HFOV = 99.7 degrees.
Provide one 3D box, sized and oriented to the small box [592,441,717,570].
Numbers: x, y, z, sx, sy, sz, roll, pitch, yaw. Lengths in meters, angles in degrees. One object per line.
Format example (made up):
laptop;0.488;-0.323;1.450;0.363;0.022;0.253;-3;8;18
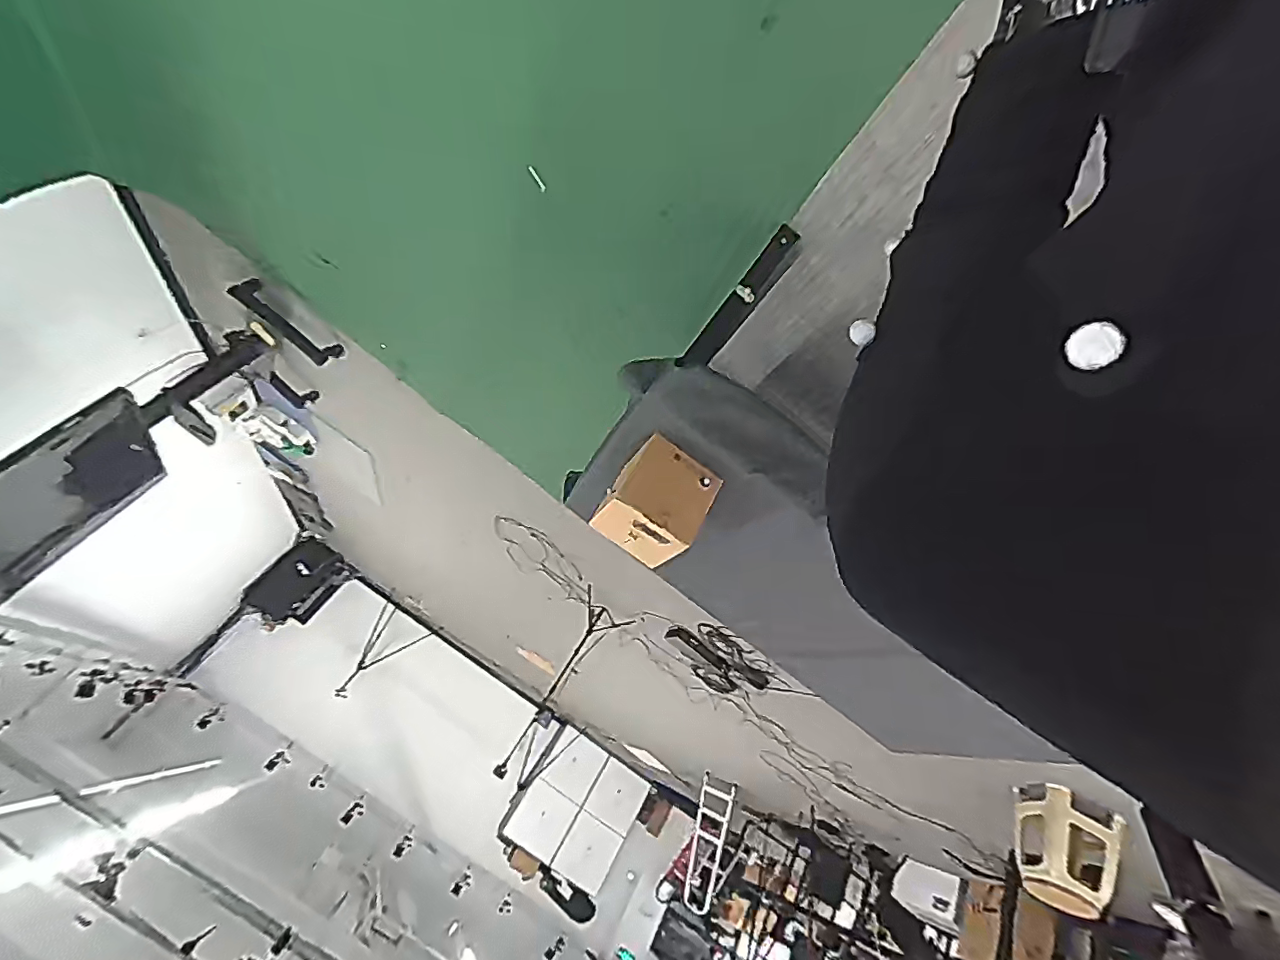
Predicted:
small box;0.033;0.051;1.083;0.168;0.176;0.179;36;150;-6
